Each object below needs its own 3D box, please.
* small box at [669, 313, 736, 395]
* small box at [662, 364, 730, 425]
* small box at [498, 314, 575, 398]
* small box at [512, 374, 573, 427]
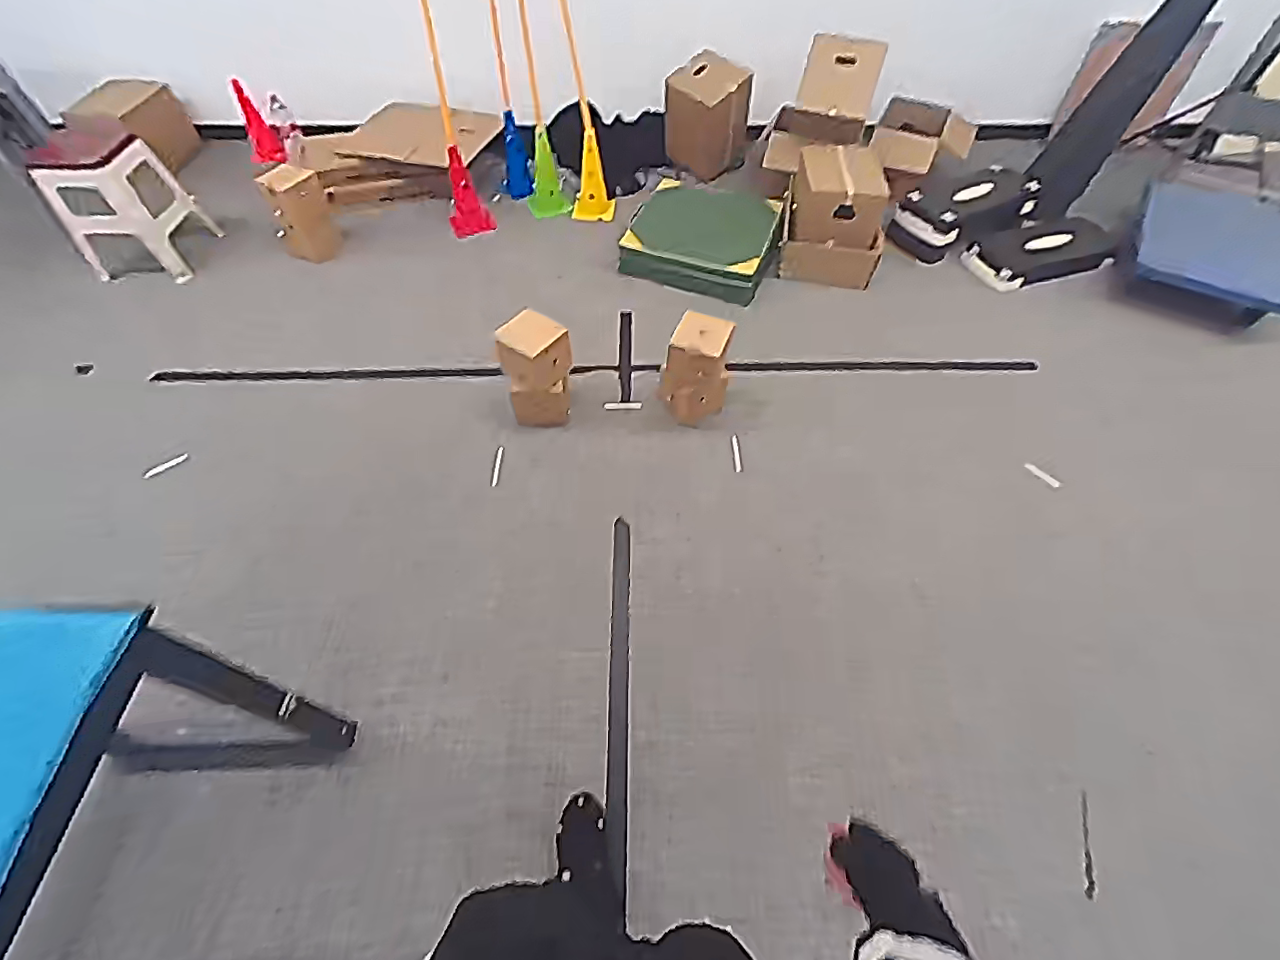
[{"bbox_3d":[0.199,-0.407,1.759,0.168,0.176,0.179,20,57,11],"label":"small box"},{"bbox_3d":[0.192,-0.322,1.902,0.179,0.176,0.168,-28,60,-20],"label":"small box"},{"bbox_3d":[-0.335,-0.405,1.750,0.179,0.176,0.168,29,59,17],"label":"small box"},{"bbox_3d":[-0.332,-0.298,1.879,0.179,0.176,0.168,1,54,1],"label":"small box"}]
